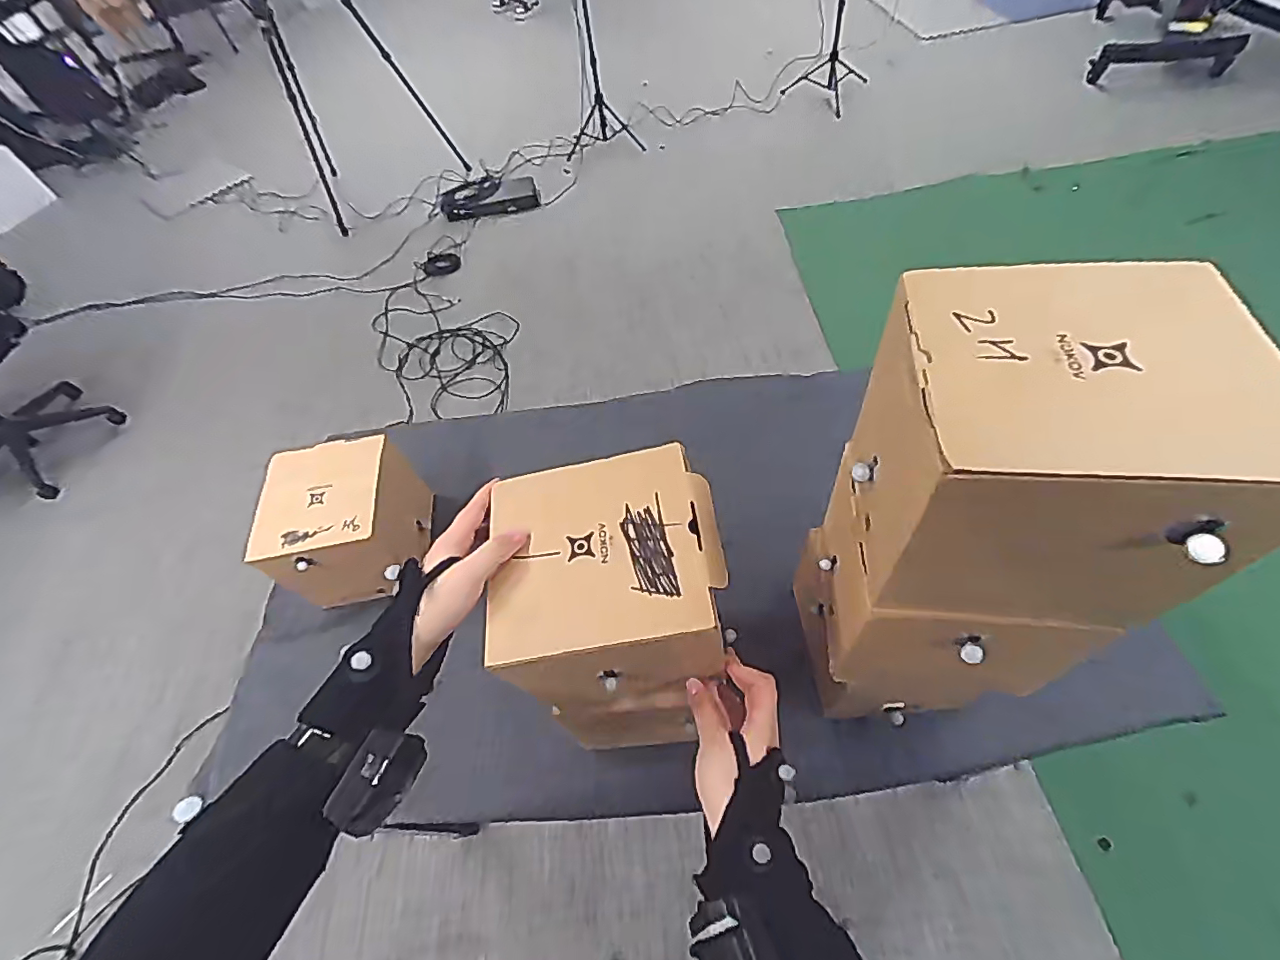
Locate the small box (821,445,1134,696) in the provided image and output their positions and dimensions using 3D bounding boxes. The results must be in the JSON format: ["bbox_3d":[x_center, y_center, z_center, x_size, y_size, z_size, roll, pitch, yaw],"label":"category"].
[{"bbox_3d":[0.269,0.085,0.486,0.179,0.176,0.168,1,54,11],"label":"small box"}]

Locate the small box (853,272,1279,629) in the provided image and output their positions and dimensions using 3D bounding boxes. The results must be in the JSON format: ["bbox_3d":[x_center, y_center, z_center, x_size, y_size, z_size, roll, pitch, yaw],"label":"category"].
[{"bbox_3d":[0.251,-0.013,0.354,0.179,0.176,0.168,2,54,12],"label":"small box"}]

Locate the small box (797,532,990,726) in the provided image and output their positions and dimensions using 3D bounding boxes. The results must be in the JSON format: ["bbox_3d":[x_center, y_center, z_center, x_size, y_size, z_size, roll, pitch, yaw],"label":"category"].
[{"bbox_3d":[0.287,0.168,0.625,0.168,0.176,0.179,-8,54,4],"label":"small box"}]

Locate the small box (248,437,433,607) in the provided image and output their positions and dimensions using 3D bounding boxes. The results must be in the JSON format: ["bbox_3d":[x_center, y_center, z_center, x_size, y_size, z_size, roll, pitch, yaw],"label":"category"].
[{"bbox_3d":[-0.421,0.065,0.797,0.168,0.176,0.179,-10,55,0],"label":"small box"}]

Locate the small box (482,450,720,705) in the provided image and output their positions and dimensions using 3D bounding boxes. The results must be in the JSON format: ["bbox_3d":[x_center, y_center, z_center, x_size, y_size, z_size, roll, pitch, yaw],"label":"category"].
[{"bbox_3d":[-0.025,0.098,0.499,0.179,0.176,0.168,-11,56,6],"label":"small box"}]
